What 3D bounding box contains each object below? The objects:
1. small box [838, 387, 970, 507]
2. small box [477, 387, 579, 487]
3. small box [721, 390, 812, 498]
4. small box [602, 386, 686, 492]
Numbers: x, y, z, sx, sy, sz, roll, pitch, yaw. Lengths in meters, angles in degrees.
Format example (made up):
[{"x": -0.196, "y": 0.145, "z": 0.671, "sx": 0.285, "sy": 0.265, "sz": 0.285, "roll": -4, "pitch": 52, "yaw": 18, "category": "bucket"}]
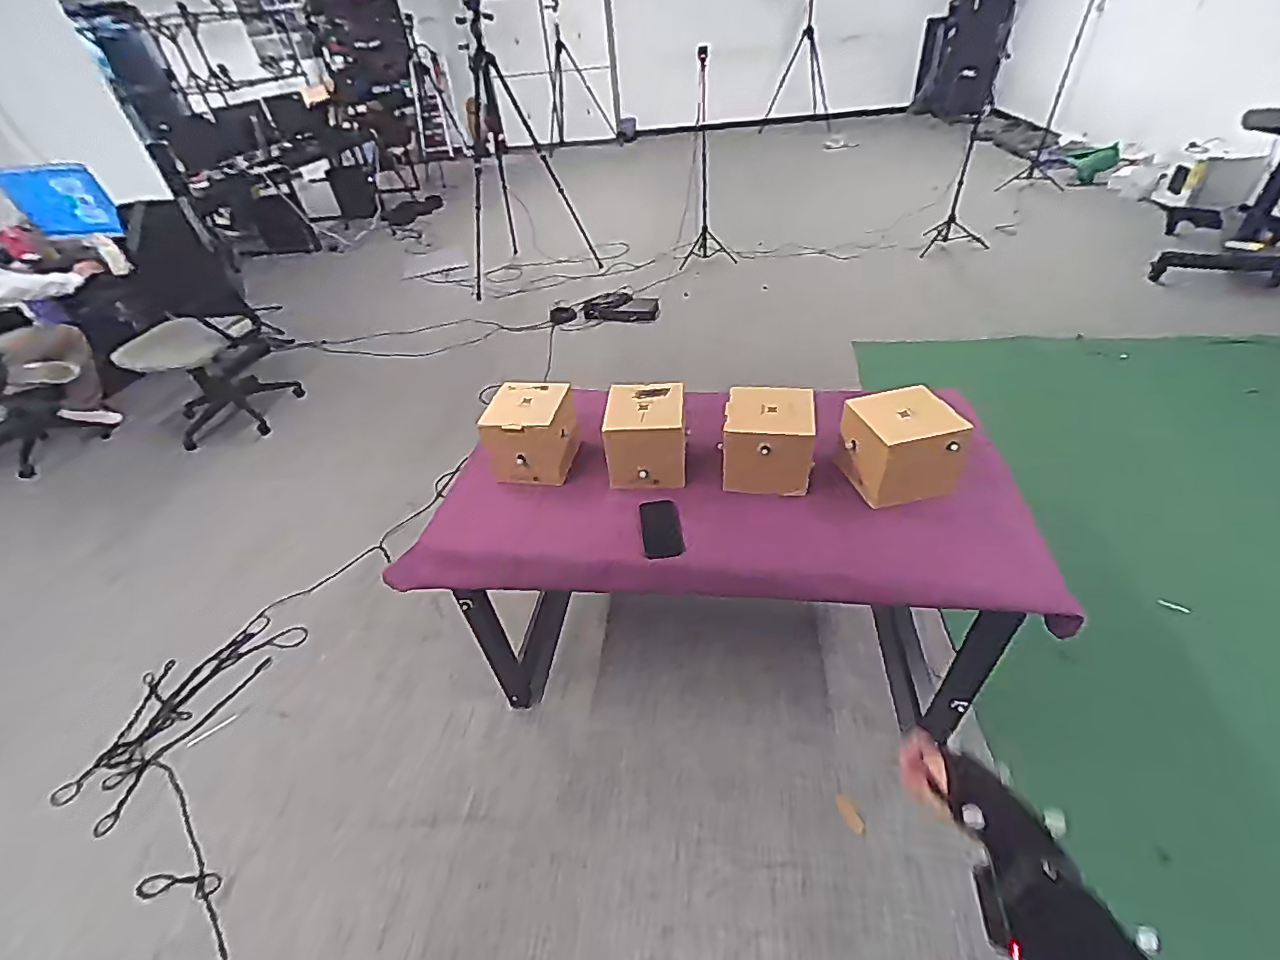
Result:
[{"x": 0.522, "y": -0.064, "z": 1.104, "sx": 0.179, "sy": 0.176, "sz": 0.168, "roll": -12, "pitch": 40, "yaw": -6, "category": "small box"}, {"x": -0.249, "y": -0.100, "z": 1.255, "sx": 0.168, "sy": 0.176, "sz": 0.179, "roll": 3, "pitch": 42, "yaw": 11, "category": "small box"}, {"x": 0.269, "y": -0.077, "z": 1.156, "sx": 0.179, "sy": 0.176, "sz": 0.168, "roll": 4, "pitch": 42, "yaw": 12, "category": "small box"}, {"x": 0.015, "y": -0.092, "z": 1.208, "sx": 0.168, "sy": 0.176, "sz": 0.179, "roll": -1, "pitch": 41, "yaw": 7, "category": "small box"}]
